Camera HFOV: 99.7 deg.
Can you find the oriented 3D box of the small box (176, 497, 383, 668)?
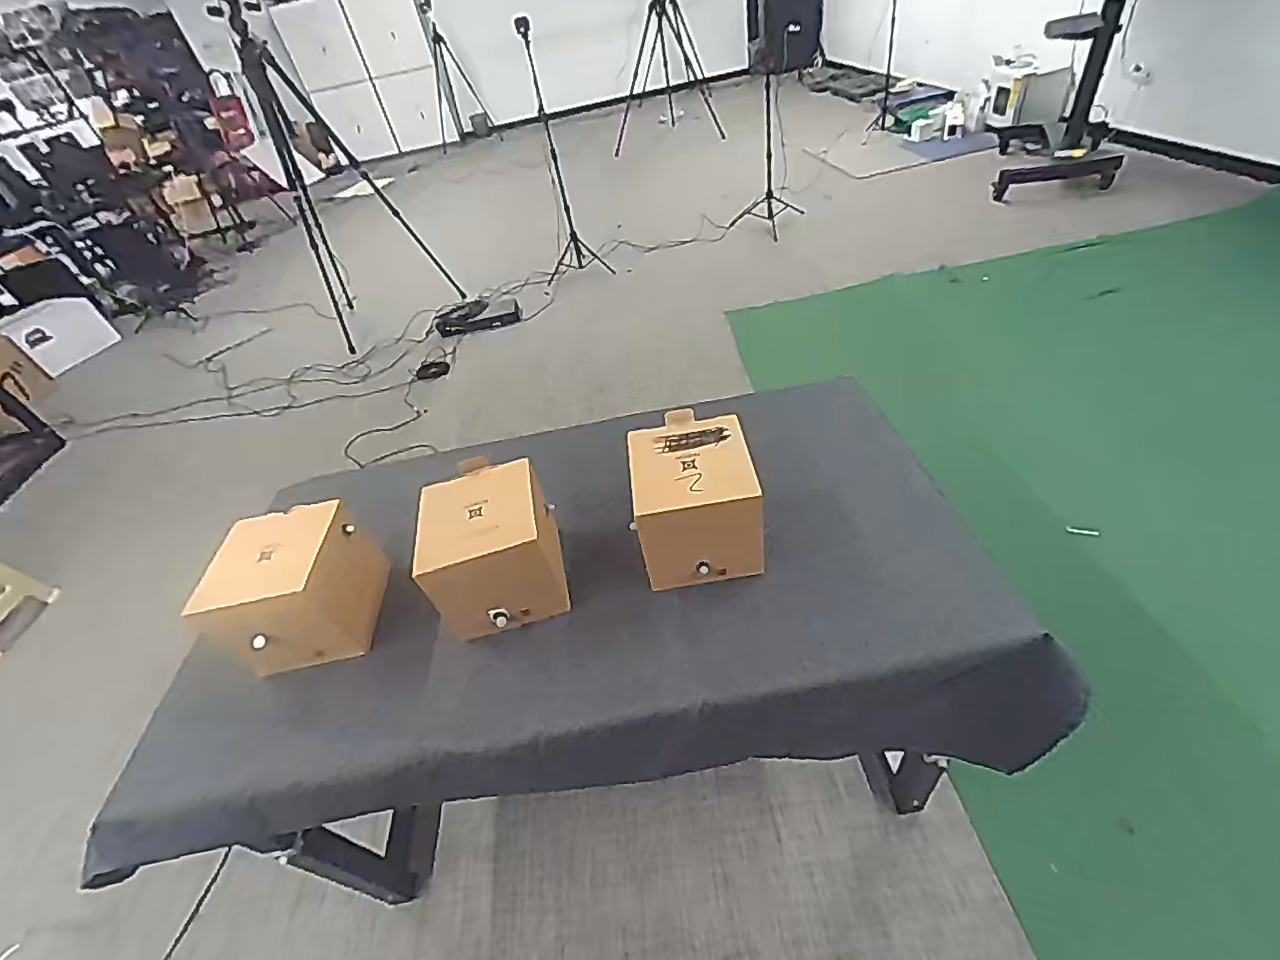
[{"bbox_3d":[-0.508,0.158,0.799,0.168,0.176,0.179,-12,41,0],"label":"small box"}]

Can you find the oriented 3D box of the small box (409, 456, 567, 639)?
[{"bbox_3d":[-0.215,0.098,0.793,0.168,0.176,0.179,-18,43,-3],"label":"small box"}]
